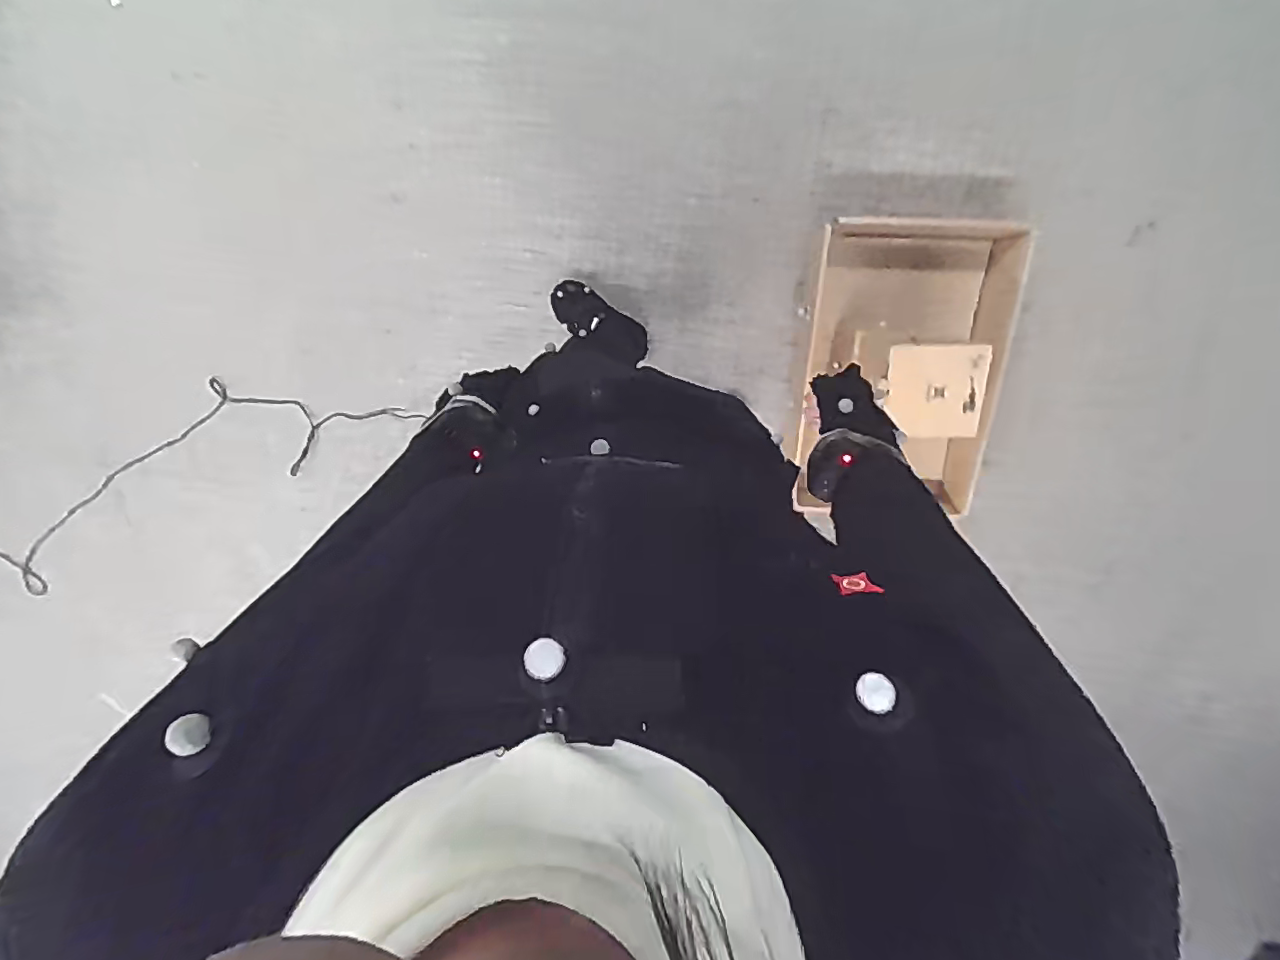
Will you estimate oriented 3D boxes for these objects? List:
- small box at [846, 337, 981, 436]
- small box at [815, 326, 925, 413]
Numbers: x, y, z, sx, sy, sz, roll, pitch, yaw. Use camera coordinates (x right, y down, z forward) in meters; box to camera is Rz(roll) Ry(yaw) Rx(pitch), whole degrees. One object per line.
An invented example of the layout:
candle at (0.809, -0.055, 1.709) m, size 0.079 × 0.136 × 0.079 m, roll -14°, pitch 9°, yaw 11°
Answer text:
small box at (0.515, -0.186, 1.049) m, size 0.179 × 0.176 × 0.168 m, roll 1°, pitch 108°, yaw 3°
small box at (0.506, -0.247, 1.218) m, size 0.168 × 0.176 × 0.179 m, roll 5°, pitch 108°, yaw 1°
